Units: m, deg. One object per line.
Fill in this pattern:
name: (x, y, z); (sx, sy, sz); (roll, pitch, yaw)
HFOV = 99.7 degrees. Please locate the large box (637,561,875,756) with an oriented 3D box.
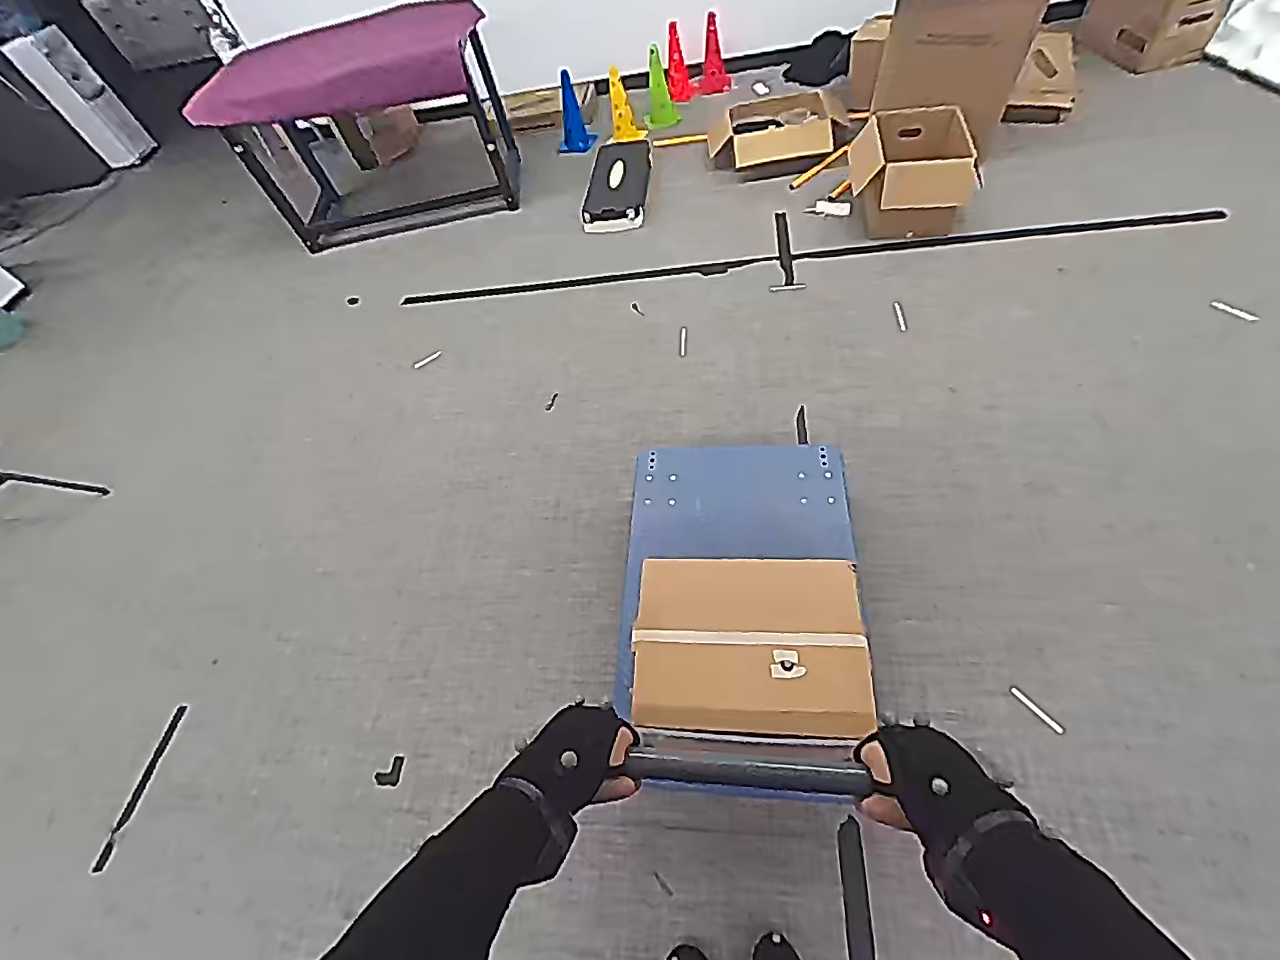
large box: (0.215, 0.372, 1.110); (0.408, 0.320, 0.320); (-1, 58, 9)
